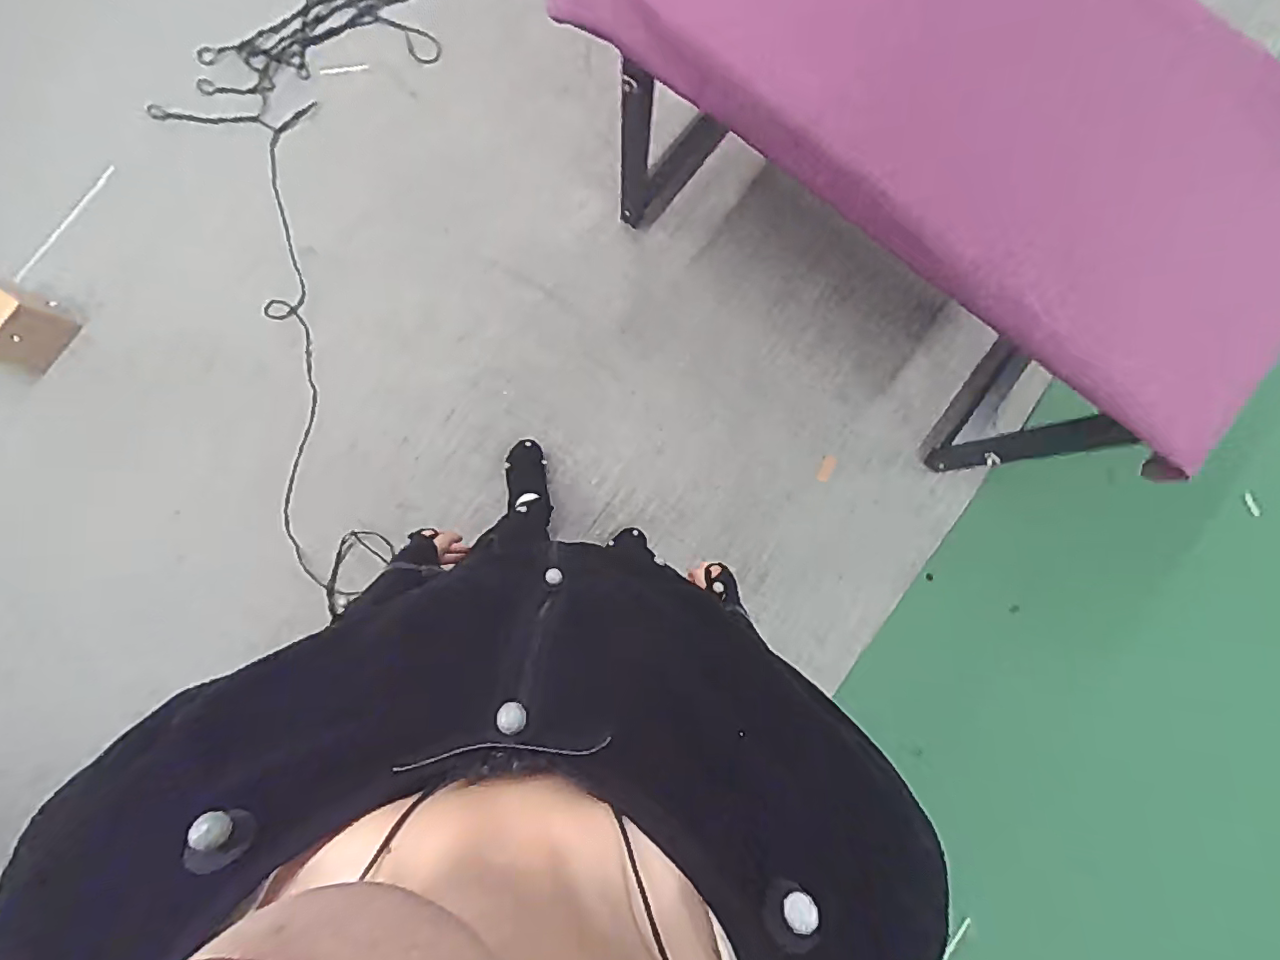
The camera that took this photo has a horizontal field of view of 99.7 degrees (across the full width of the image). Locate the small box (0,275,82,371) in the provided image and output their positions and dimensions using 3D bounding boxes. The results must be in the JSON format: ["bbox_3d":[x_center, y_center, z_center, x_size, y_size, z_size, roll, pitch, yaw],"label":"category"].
[{"bbox_3d":[-1.648,-0.413,1.414,0.168,0.176,0.179,36,85,0],"label":"small box"}]
